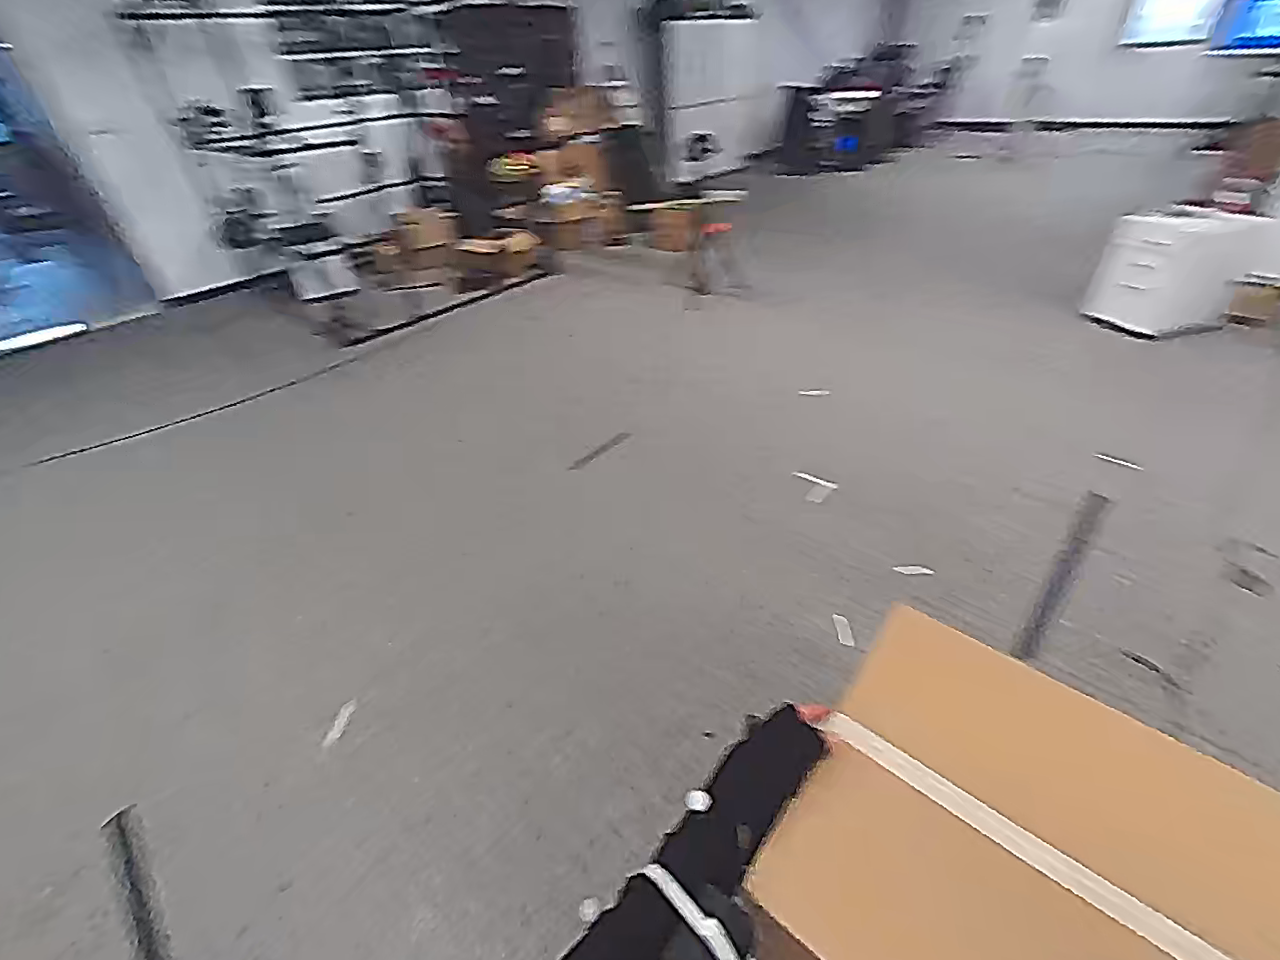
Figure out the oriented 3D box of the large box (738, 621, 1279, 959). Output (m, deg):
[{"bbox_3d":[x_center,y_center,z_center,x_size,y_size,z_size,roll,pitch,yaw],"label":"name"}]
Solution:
[{"bbox_3d":[0.345,0.416,0.504,0.408,0.320,0.320,27,54,30],"label":"large box"}]
